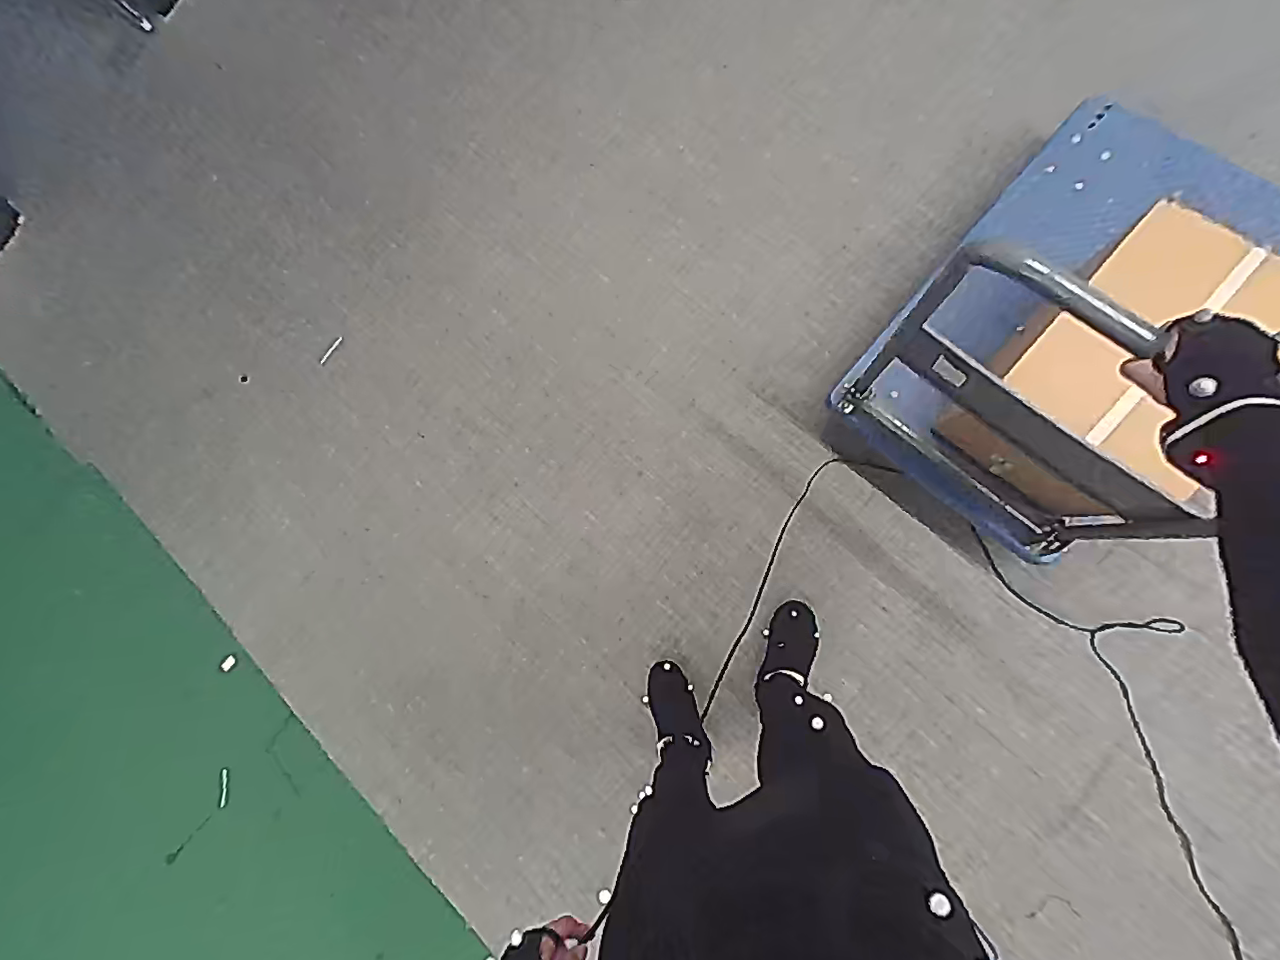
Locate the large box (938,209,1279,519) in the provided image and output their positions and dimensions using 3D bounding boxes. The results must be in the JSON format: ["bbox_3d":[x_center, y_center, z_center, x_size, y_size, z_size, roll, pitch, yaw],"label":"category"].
[{"bbox_3d":[0.848,-0.177,0.995,0.320,0.320,0.408,40,93,12],"label":"large box"}]
